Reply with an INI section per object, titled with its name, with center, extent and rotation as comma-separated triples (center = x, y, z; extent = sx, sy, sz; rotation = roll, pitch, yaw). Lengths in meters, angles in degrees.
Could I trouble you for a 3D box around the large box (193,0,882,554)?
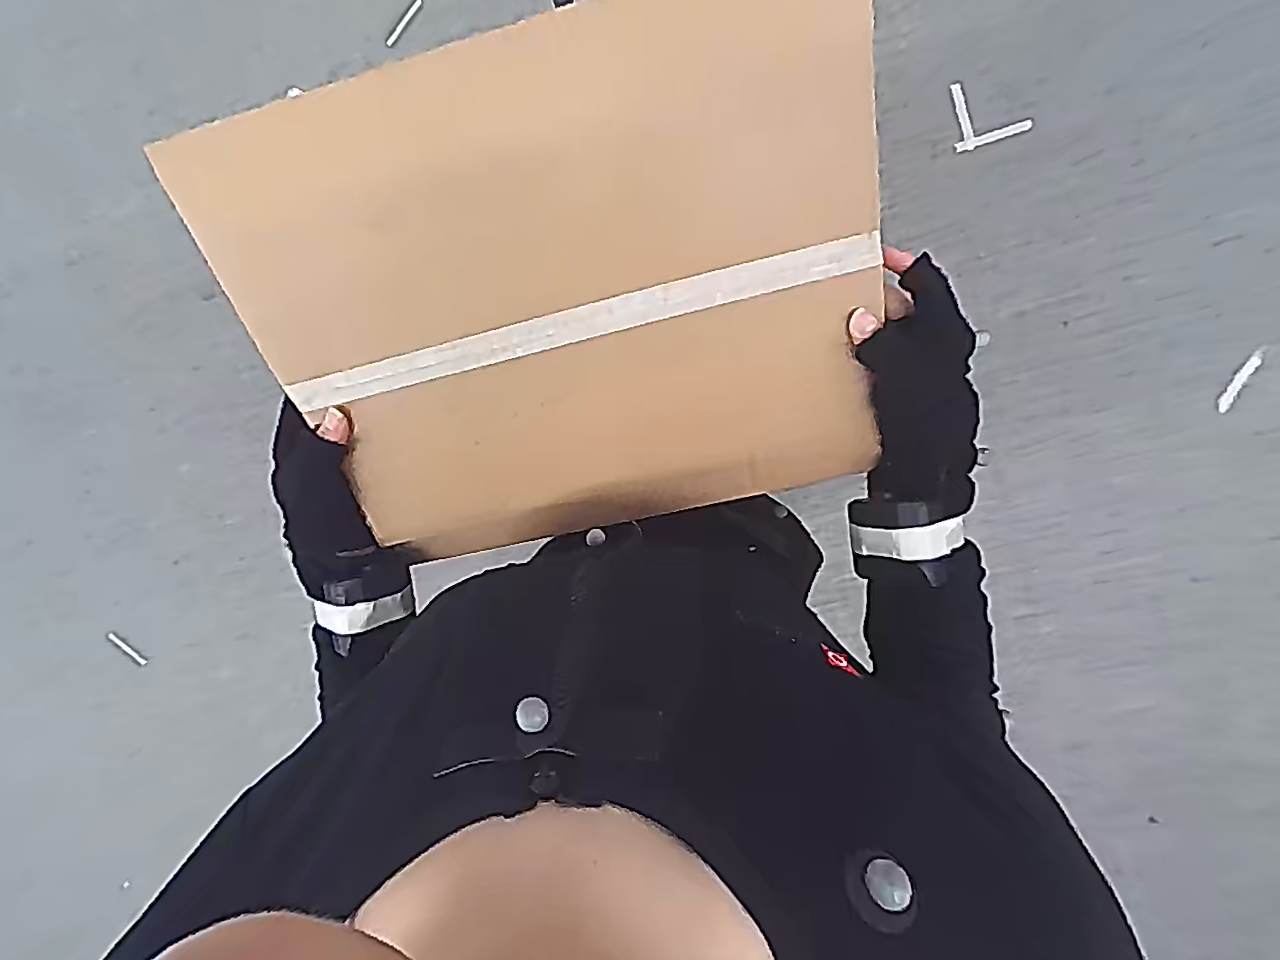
[large box]
center = -0.044, -0.178, 0.498
extent = 0.408, 0.320, 0.320
rotation = -12, 119, 7
